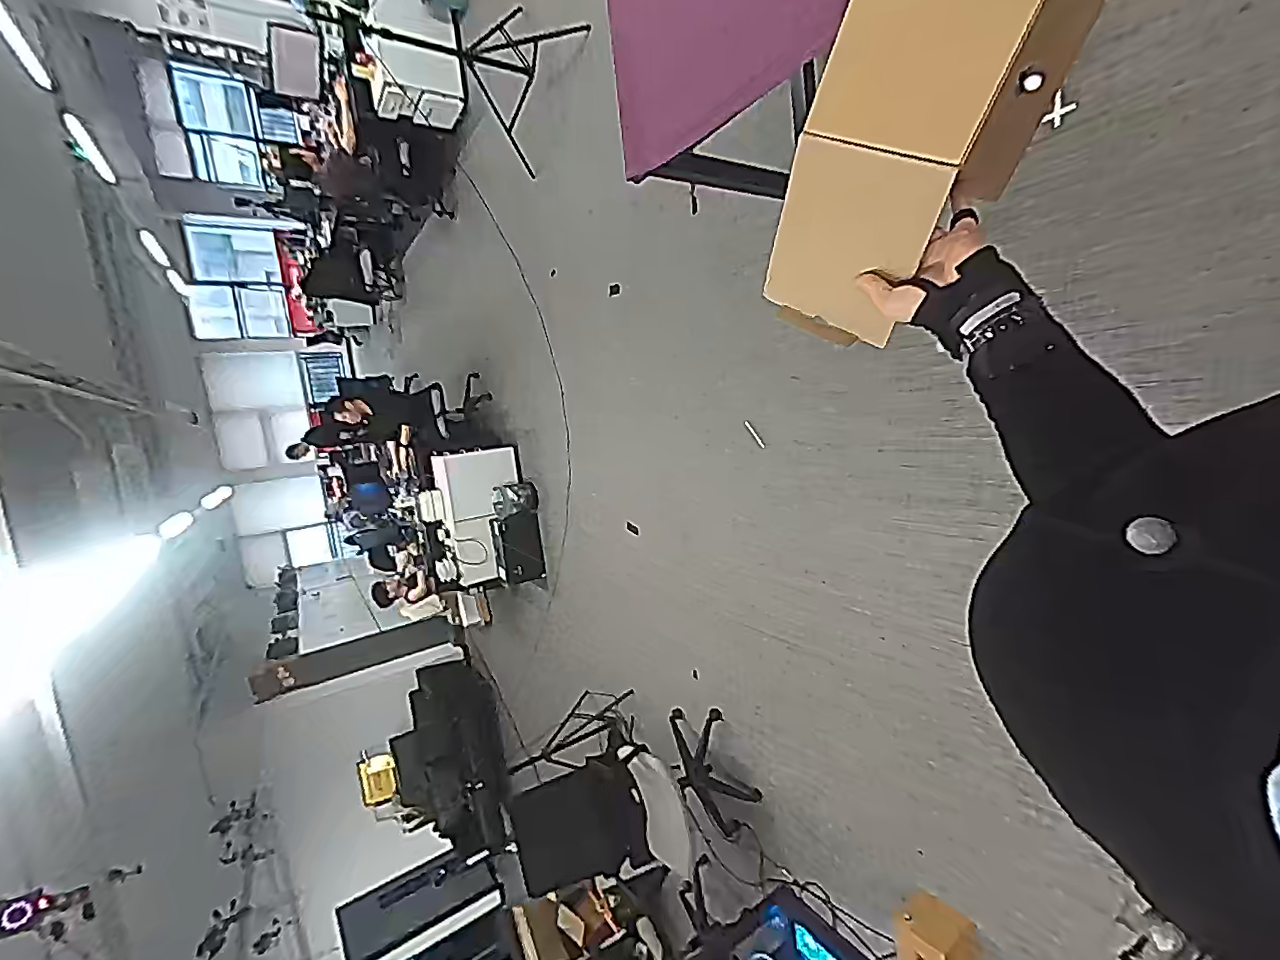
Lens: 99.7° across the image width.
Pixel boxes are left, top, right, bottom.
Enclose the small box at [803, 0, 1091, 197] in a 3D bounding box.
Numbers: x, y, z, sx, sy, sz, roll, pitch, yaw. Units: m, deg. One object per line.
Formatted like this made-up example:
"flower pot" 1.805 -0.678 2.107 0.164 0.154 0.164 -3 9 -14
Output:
"small box" 0.299 -0.398 0.528 0.168 0.176 0.179 37 123 31
